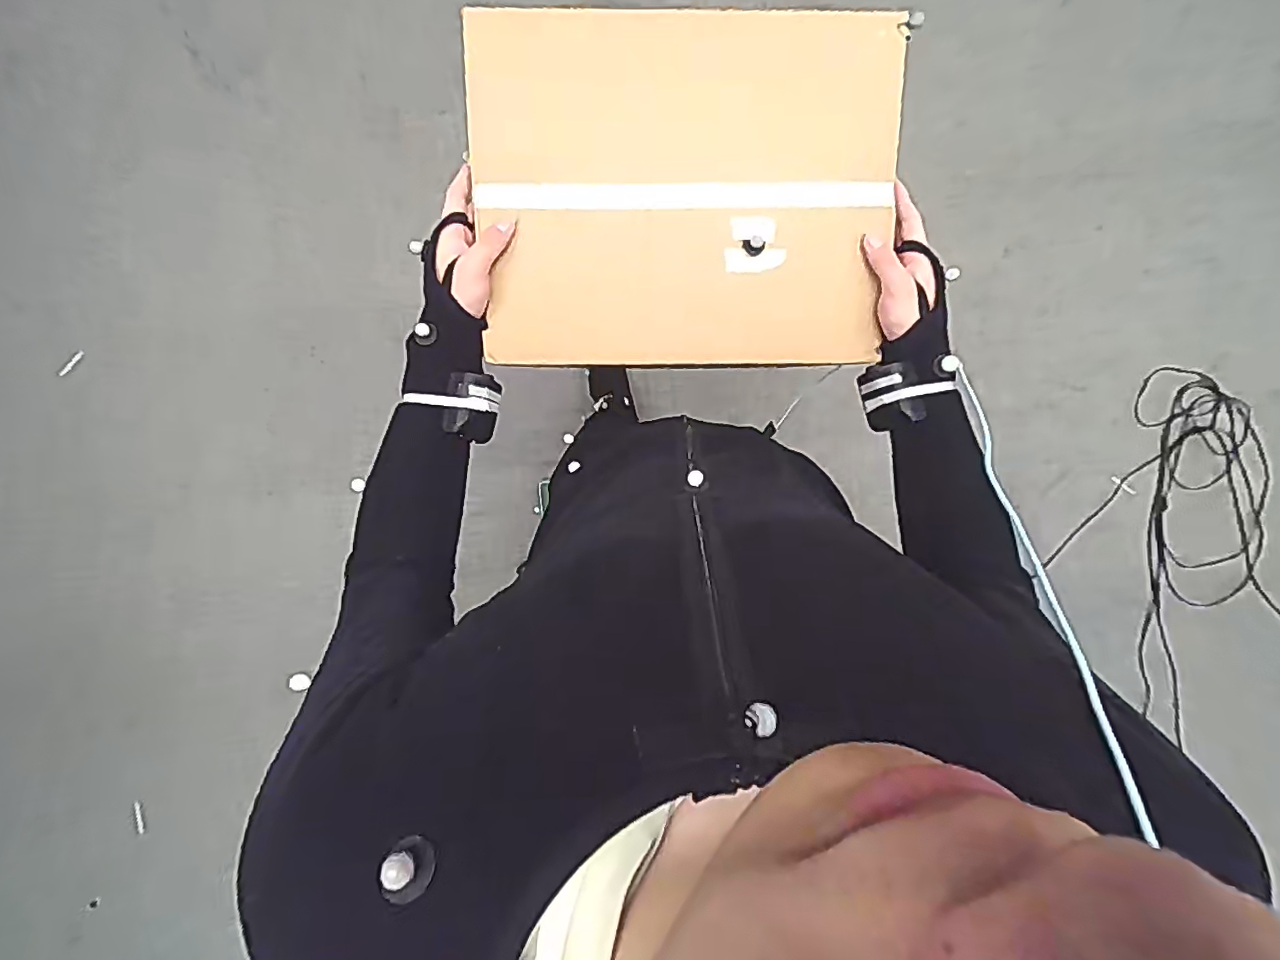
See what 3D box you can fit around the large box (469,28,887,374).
[{"bbox_3d":[0.035,-0.299,0.682,0.408,0.320,0.320,-1,101,-1],"label":"large box"}]
